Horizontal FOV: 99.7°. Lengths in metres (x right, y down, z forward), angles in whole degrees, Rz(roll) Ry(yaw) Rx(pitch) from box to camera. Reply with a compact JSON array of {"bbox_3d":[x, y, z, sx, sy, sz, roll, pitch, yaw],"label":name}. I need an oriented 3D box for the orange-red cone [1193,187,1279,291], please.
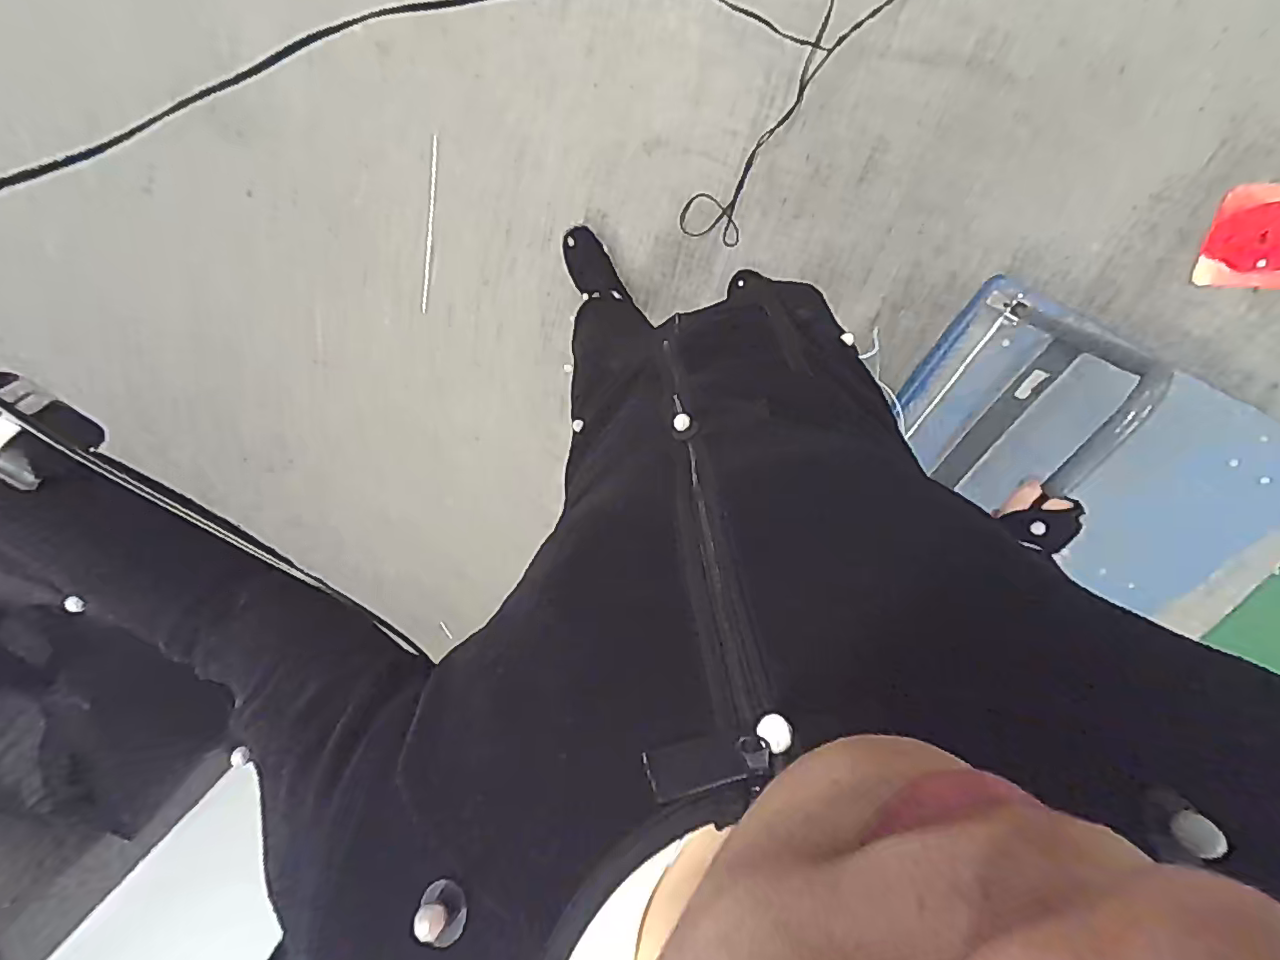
[{"bbox_3d":[1.298,-0.441,1.006,0.198,0.360,0.199,7,116,9],"label":"orange-red cone"}]
